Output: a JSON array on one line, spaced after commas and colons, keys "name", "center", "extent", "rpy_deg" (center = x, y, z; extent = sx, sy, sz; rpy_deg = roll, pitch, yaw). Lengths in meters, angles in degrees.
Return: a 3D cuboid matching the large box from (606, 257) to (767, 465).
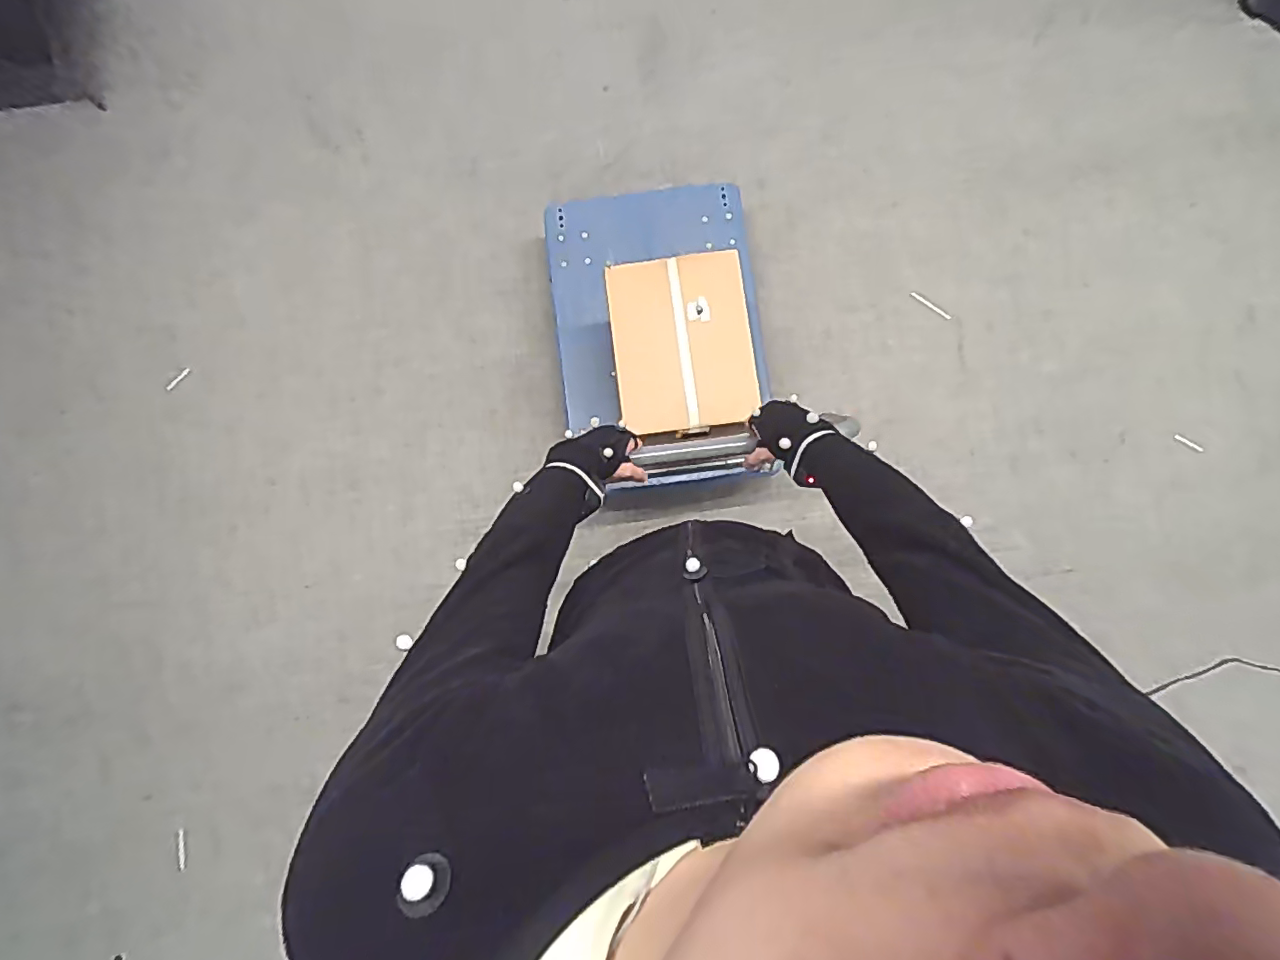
[{"name": "large box", "center": [0.105, -0.274, 1.356], "extent": [0.320, 0.320, 0.408], "rpy_deg": [-7, 82, 0]}]
